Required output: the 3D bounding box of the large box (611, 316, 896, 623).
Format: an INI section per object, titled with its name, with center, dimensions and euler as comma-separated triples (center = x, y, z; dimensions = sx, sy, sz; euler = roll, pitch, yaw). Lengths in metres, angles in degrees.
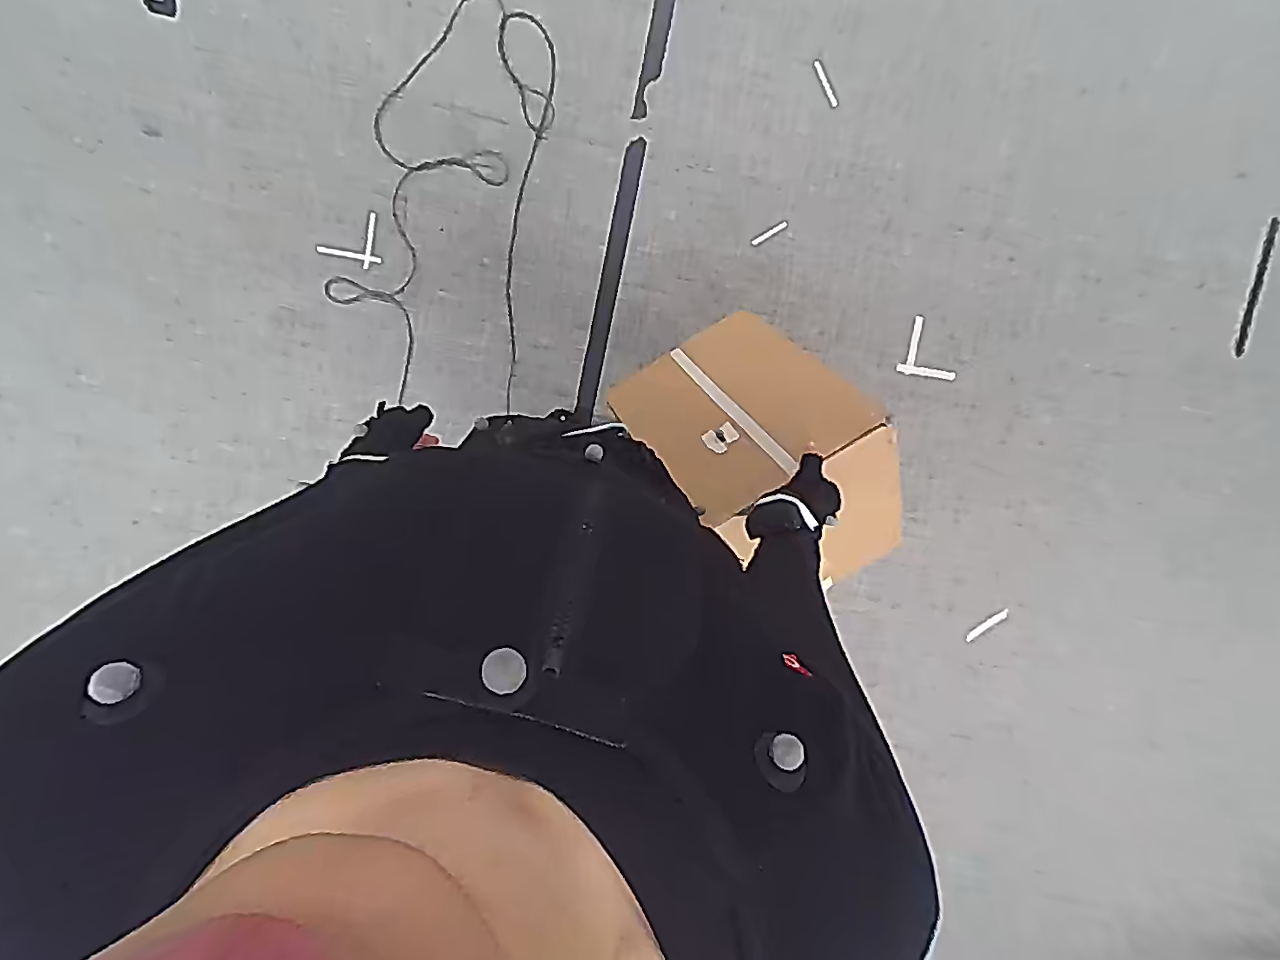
[large box]
center = 0.201, -0.028, 0.987
dimensions = 0.320, 0.408, 0.320
euler = -32, 135, 0
